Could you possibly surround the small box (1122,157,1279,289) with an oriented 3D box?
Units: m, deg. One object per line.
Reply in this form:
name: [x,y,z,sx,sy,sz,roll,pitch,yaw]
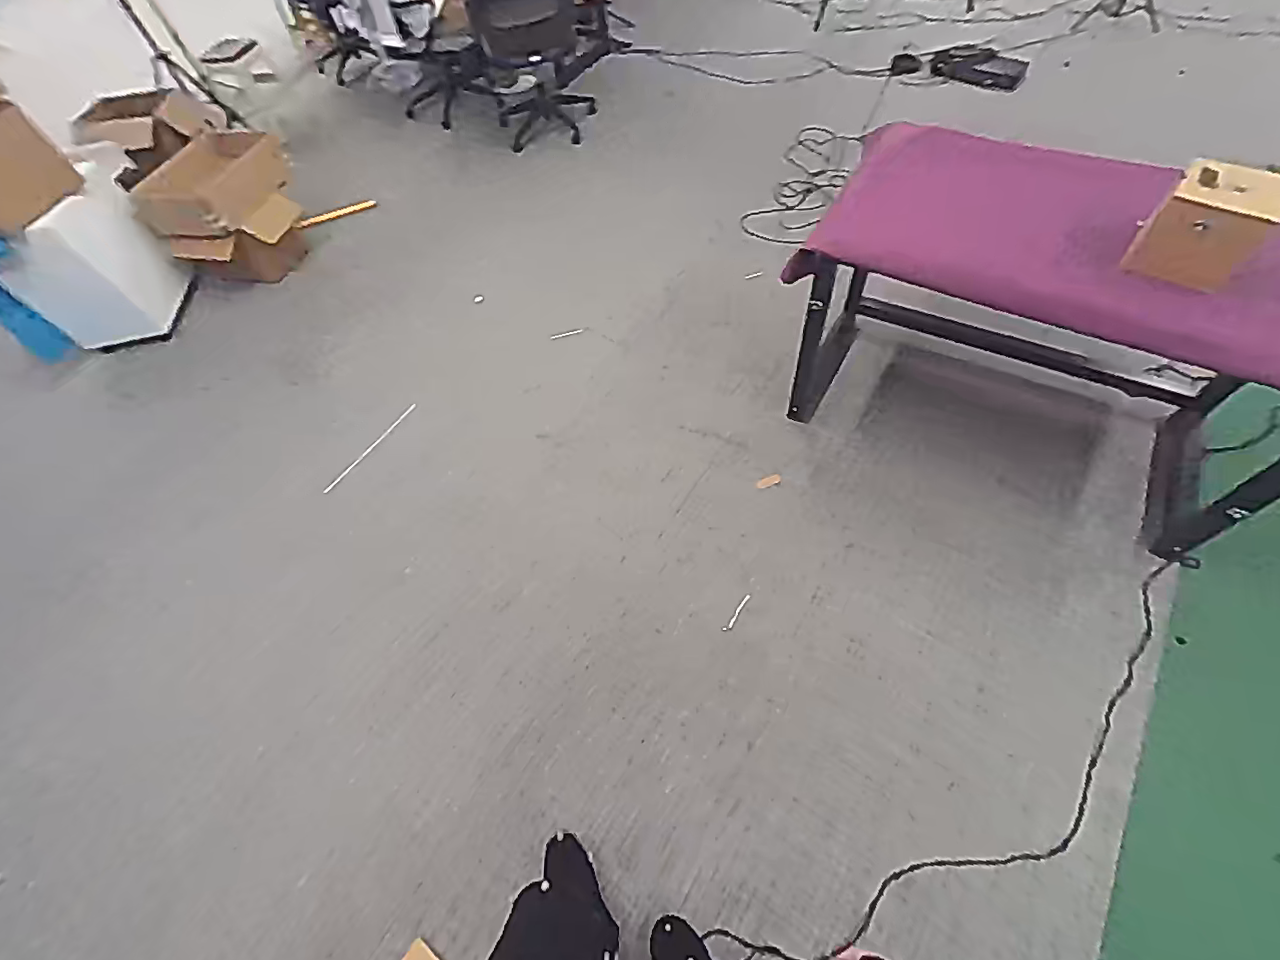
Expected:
small box: [1.165,-0.528,1.121,0.179,0.176,0.168,34,68,24]
